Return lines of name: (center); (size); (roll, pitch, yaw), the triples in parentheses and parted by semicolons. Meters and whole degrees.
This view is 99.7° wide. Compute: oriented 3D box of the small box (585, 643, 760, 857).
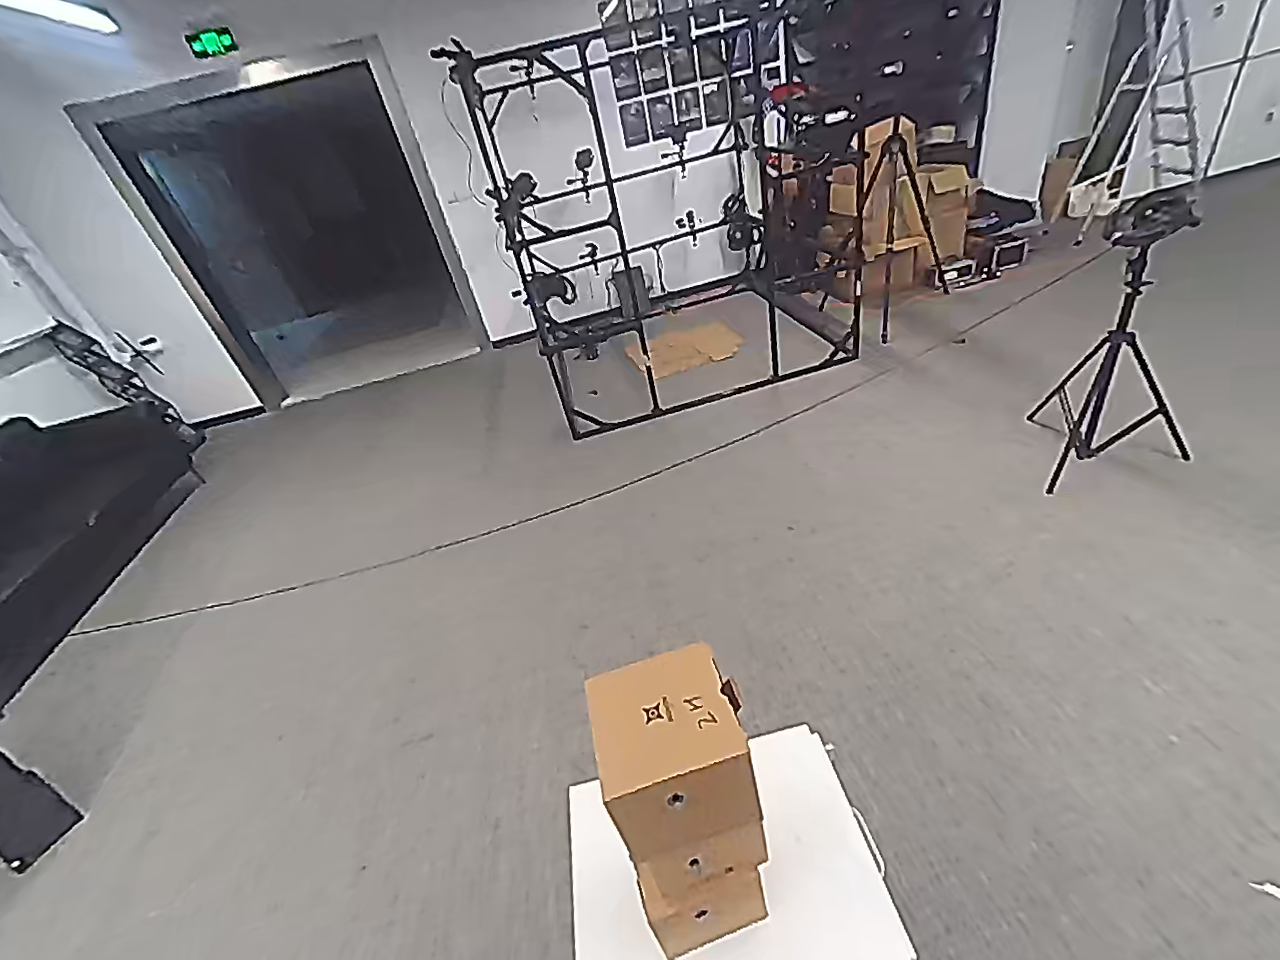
small box: (0.041, 0.352, 0.708); (0.179, 0.176, 0.168); (-17, 34, -3)

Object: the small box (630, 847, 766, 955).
small box: (0.089, 0.625, 0.883); (0.179, 0.176, 0.168); (-18, 34, -7)

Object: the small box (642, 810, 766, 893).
small box: (0.076, 0.478, 0.810); (0.168, 0.176, 0.179); (-18, 33, -6)
